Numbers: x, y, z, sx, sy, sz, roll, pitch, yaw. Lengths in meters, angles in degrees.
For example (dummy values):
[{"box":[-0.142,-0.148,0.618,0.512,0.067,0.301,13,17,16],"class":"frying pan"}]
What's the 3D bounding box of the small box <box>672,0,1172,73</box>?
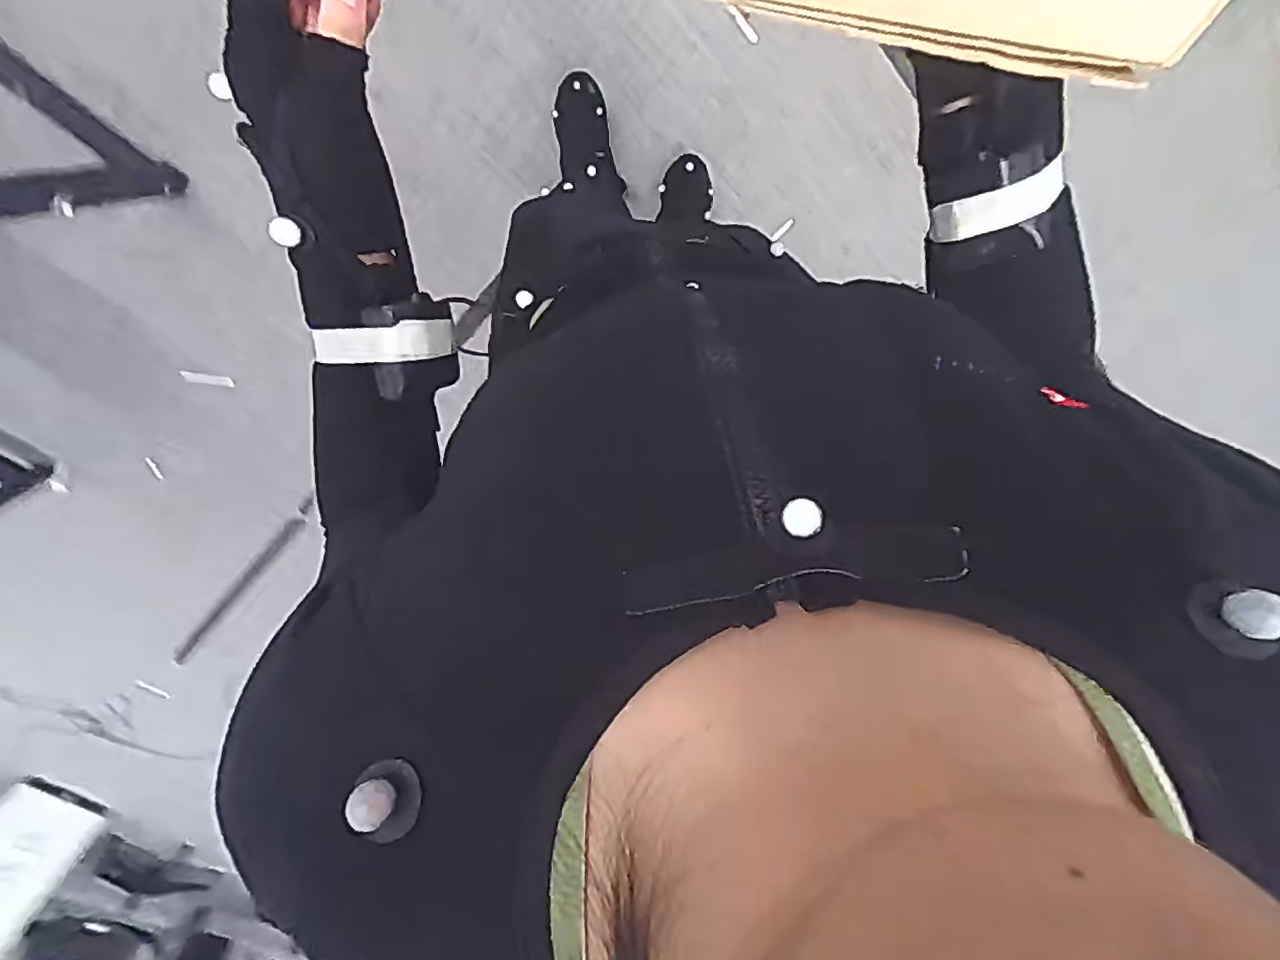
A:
[{"box":[0.101,-0.258,0.153,0.179,0.168,0.176,1,149,-7],"class":"small box"}]
